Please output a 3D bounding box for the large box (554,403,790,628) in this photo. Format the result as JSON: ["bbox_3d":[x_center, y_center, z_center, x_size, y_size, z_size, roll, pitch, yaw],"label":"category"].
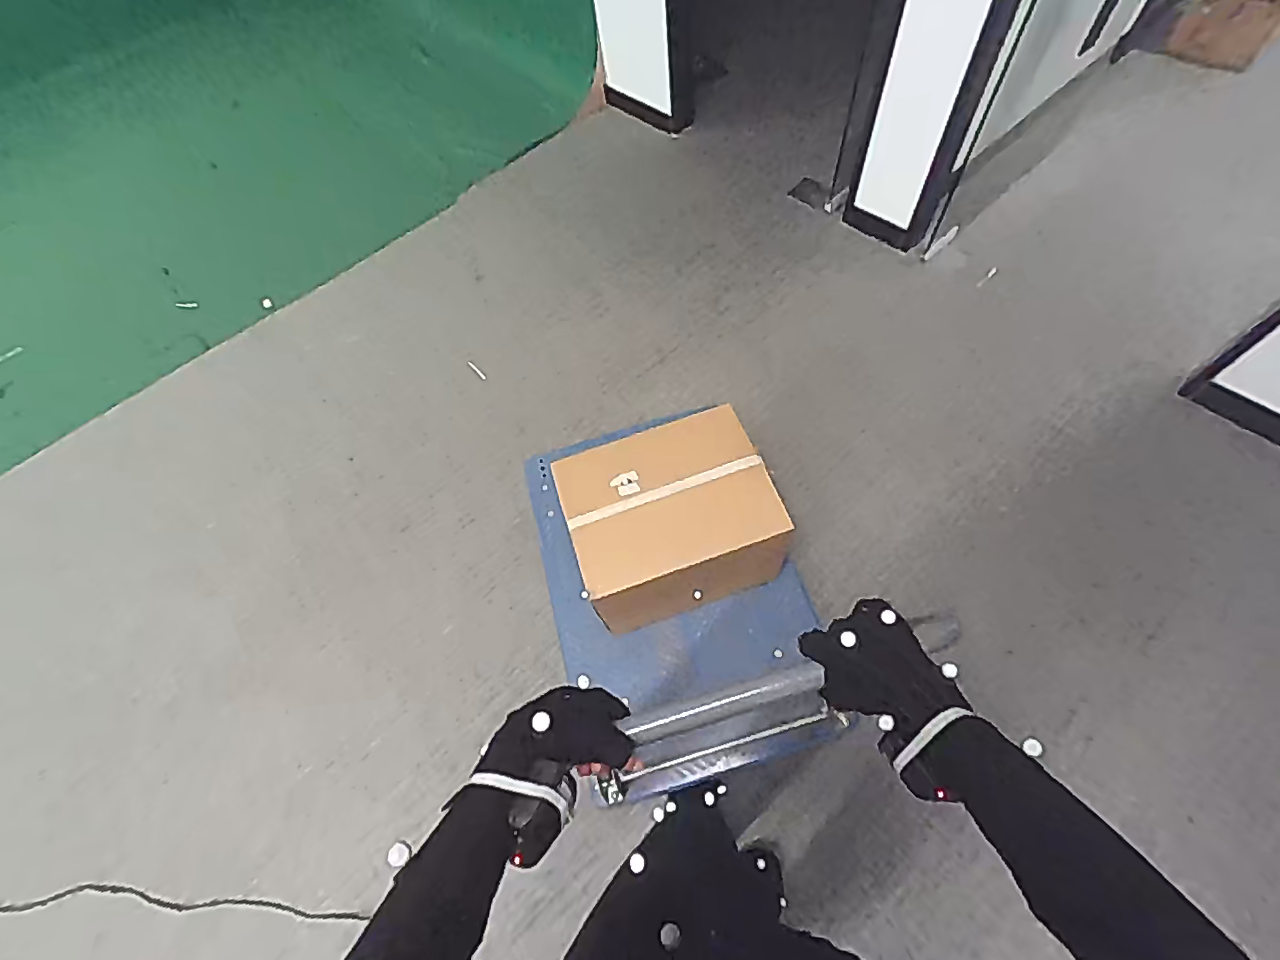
[{"bbox_3d":[0.071,0.093,1.213,0.408,0.320,0.320,-20,62,-3],"label":"large box"}]
